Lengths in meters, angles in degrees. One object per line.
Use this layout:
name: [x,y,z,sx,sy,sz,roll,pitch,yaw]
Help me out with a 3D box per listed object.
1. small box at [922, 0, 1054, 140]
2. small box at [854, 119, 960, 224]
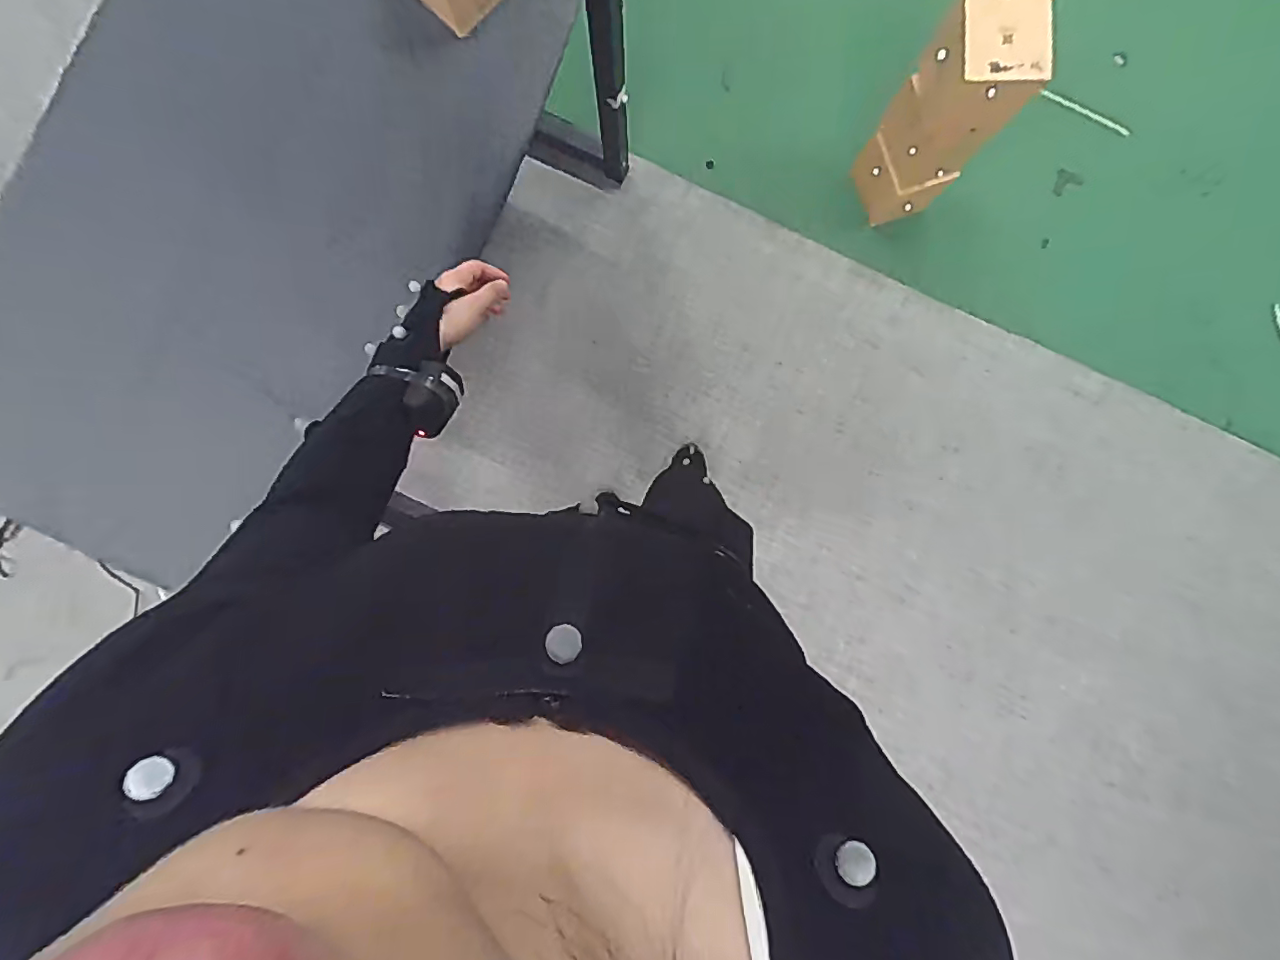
small box: [0.692,-0.827,1.092,0.168,0.176,0.179,0,89,1]
small box: [0.693,-0.801,1.420,0.168,0.176,0.179,-19,89,0]
